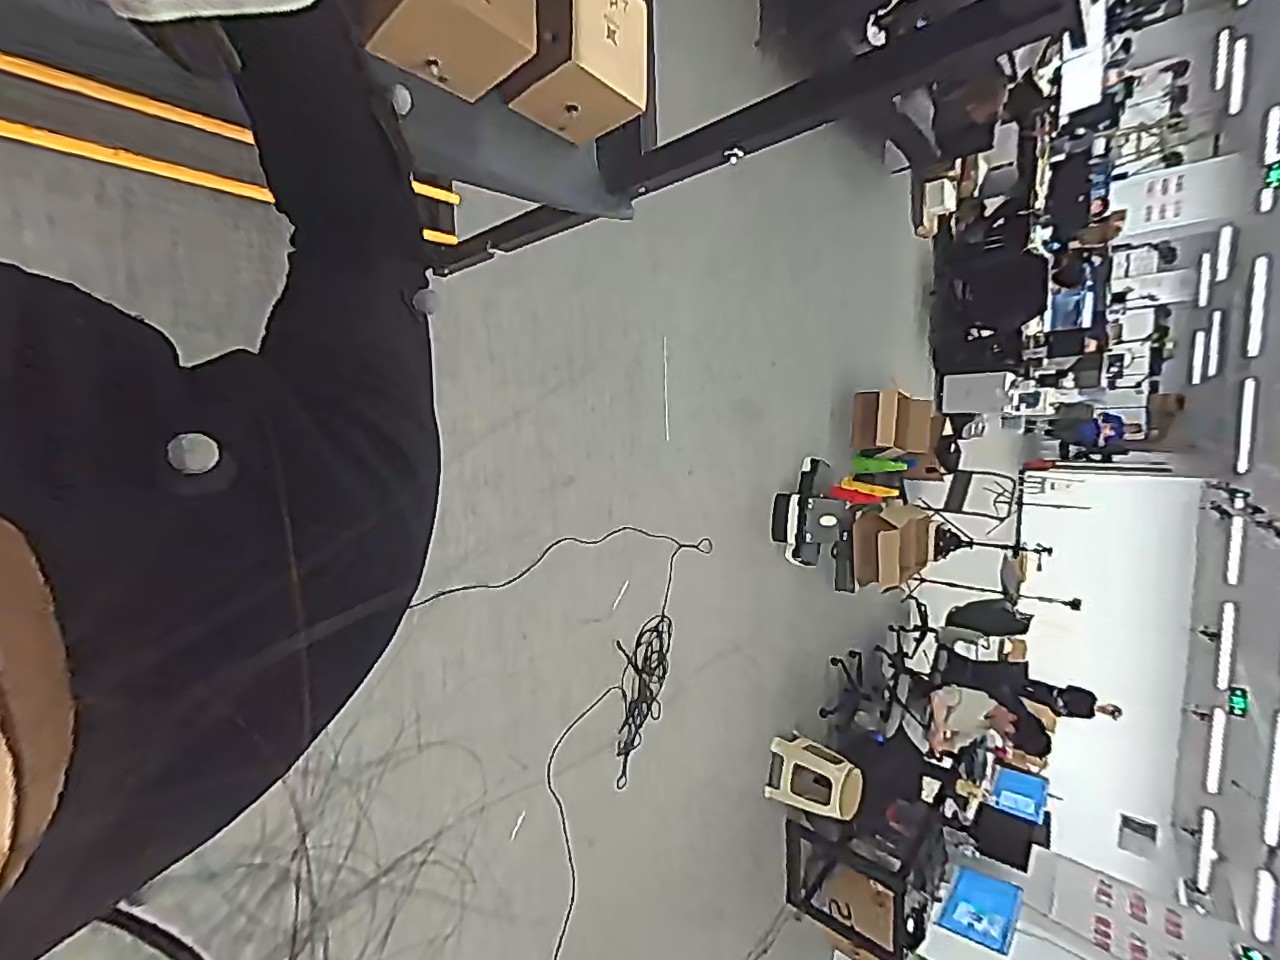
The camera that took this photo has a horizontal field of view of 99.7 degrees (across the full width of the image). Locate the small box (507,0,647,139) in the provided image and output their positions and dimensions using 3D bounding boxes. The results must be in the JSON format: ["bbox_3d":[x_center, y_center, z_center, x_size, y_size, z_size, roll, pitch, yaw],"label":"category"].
[{"bbox_3d":[-0.105,-0.706,0.894,0.168,0.176,0.179,-5,96,-48],"label":"small box"}]
